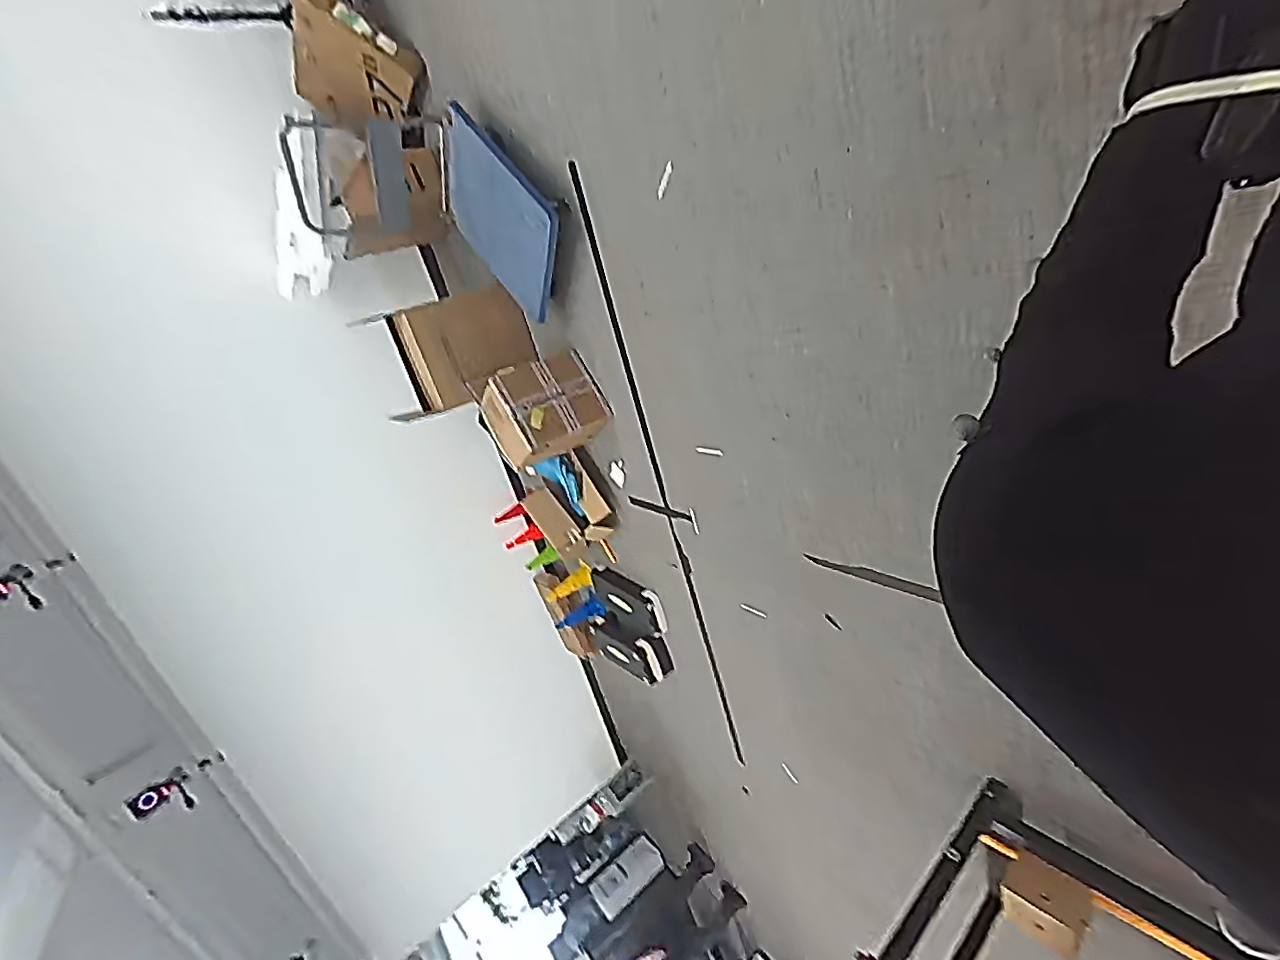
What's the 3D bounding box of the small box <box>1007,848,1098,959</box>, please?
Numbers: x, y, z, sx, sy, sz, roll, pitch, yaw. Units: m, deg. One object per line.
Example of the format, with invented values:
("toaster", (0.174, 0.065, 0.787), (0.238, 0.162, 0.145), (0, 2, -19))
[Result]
("small box", (1.212, 1.238, 1.585), (0.179, 0.176, 0.168), (10, 123, 53))
